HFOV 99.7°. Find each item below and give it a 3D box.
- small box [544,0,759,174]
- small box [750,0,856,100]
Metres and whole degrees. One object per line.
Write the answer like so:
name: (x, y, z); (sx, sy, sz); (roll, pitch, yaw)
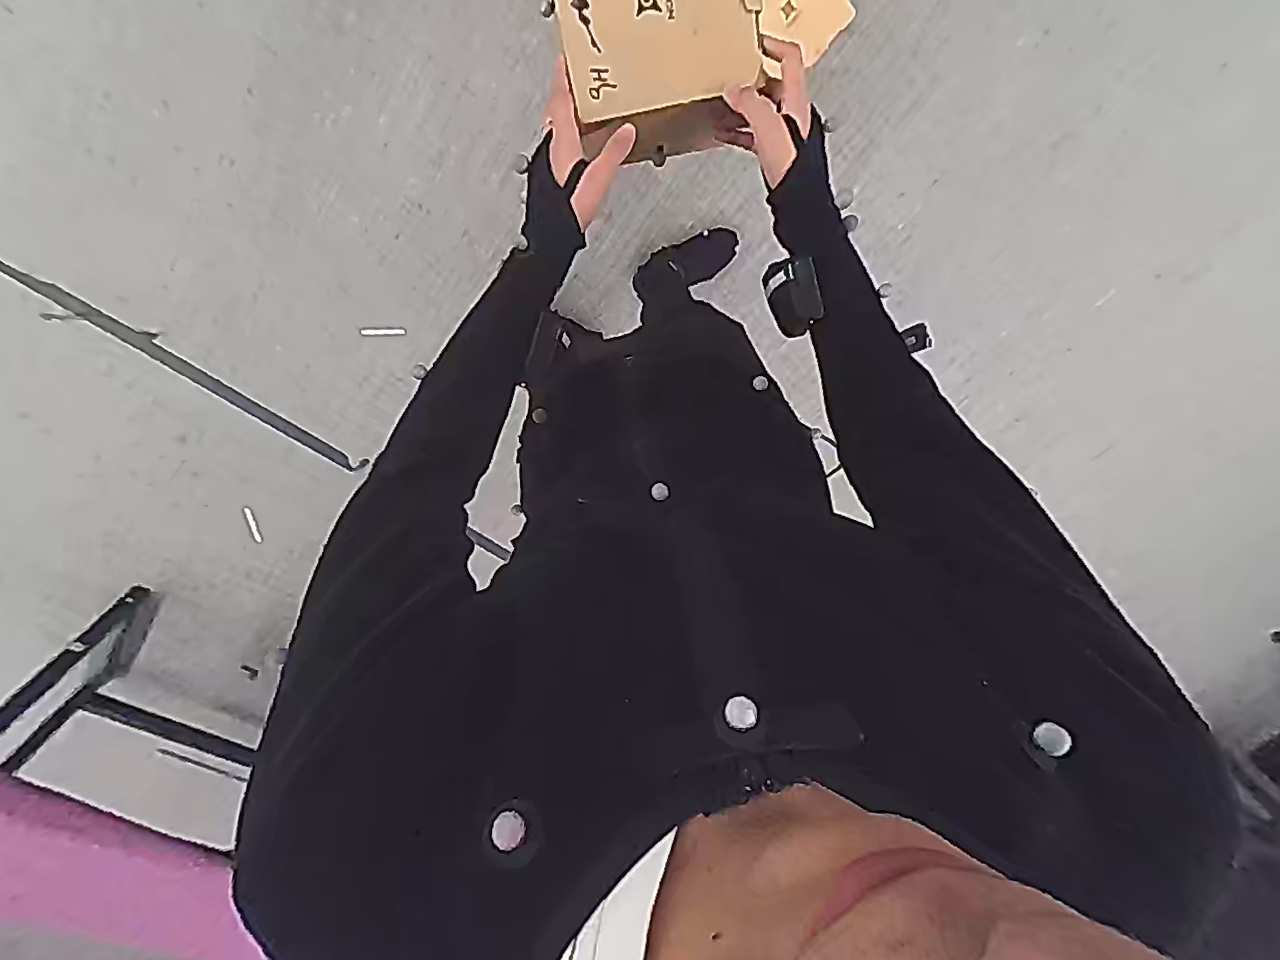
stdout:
small box: (0.003, -0.429, 0.541); (0.179, 0.176, 0.168); (-12, 106, -2)
small box: (0.256, -0.843, 1.000); (0.179, 0.176, 0.168); (40, 111, -22)
